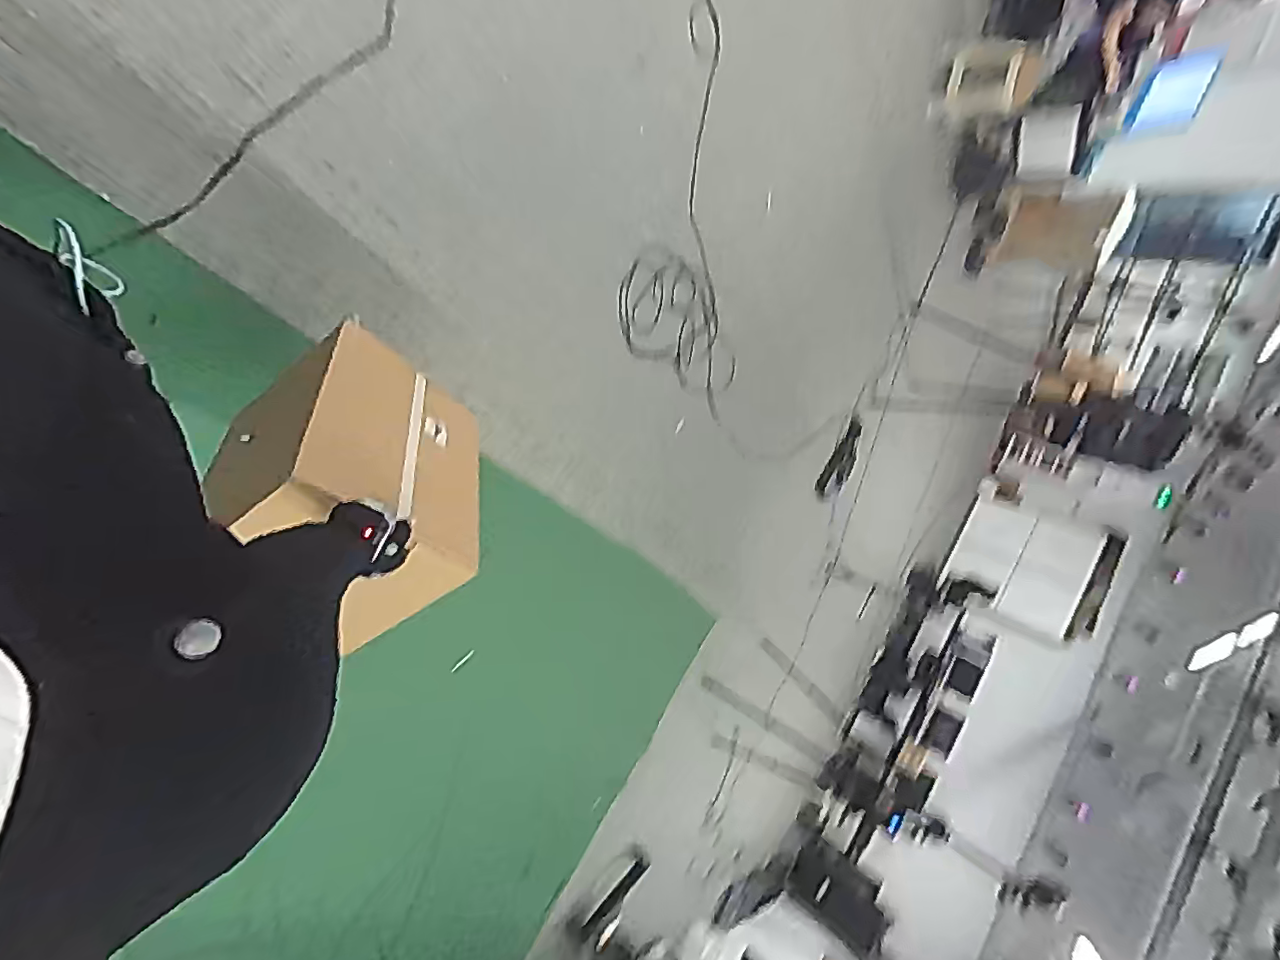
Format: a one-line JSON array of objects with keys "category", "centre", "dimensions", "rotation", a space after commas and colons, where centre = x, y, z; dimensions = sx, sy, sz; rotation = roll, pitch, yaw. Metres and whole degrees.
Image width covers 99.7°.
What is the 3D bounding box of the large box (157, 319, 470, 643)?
[{"category": "large box", "centre": [-0.526, 0.007, 0.950], "dimensions": [0.320, 0.408, 0.320], "rotation": [-32, 134, 14]}]
